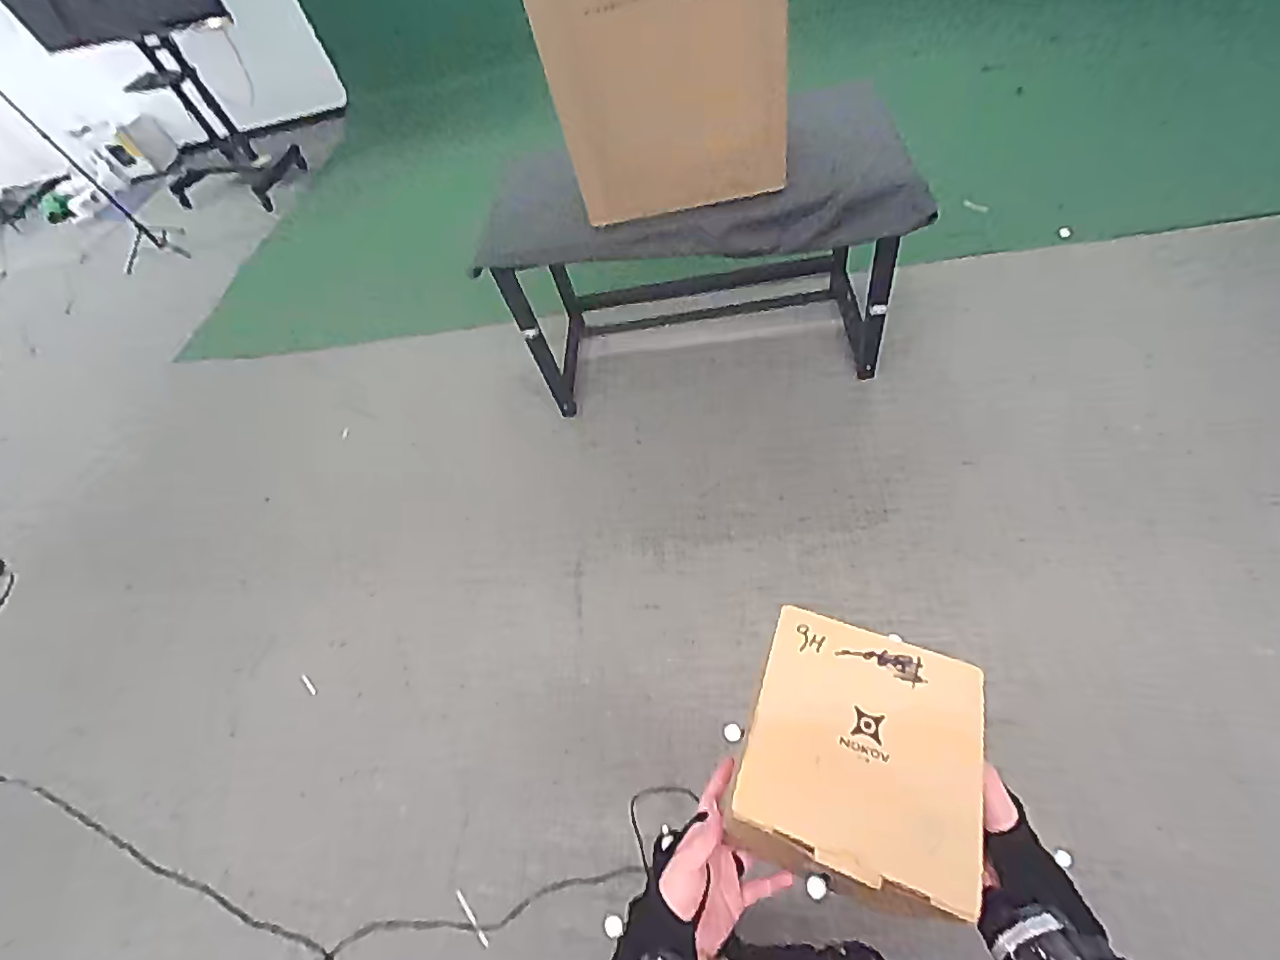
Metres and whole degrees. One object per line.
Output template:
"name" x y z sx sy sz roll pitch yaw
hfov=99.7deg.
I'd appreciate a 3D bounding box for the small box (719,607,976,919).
"small box" 0.172 0.248 0.481 0.168 0.176 0.179 16 55 14
